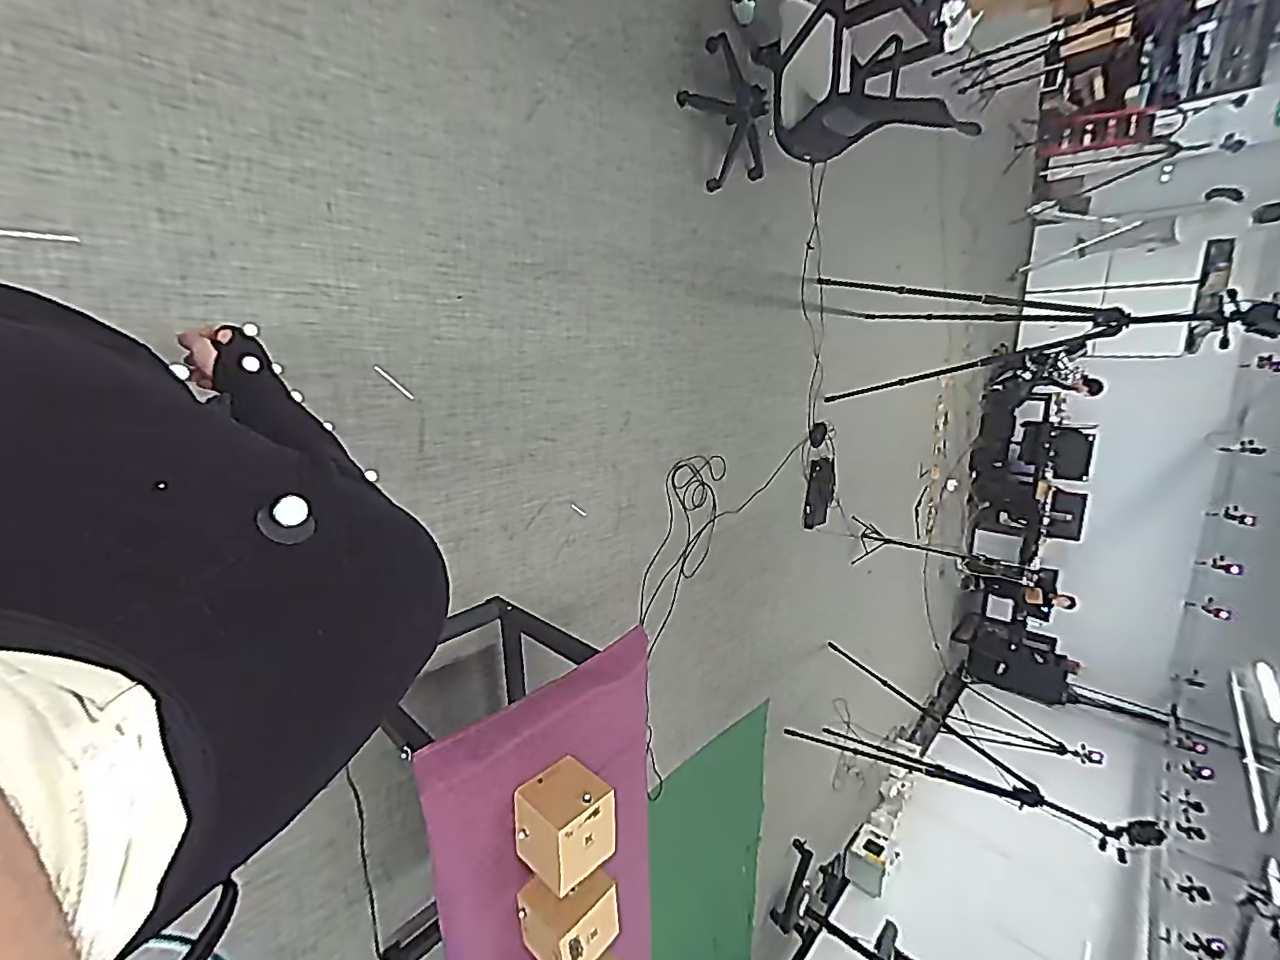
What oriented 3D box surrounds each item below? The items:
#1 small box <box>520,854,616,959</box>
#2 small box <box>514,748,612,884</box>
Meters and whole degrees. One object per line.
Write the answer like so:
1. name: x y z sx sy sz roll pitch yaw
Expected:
1. small box: -0.182 1.040 1.340 0.179 0.176 0.168 -20 113 -45
2. small box: -0.183 0.780 1.277 0.168 0.176 0.179 -13 109 -46
